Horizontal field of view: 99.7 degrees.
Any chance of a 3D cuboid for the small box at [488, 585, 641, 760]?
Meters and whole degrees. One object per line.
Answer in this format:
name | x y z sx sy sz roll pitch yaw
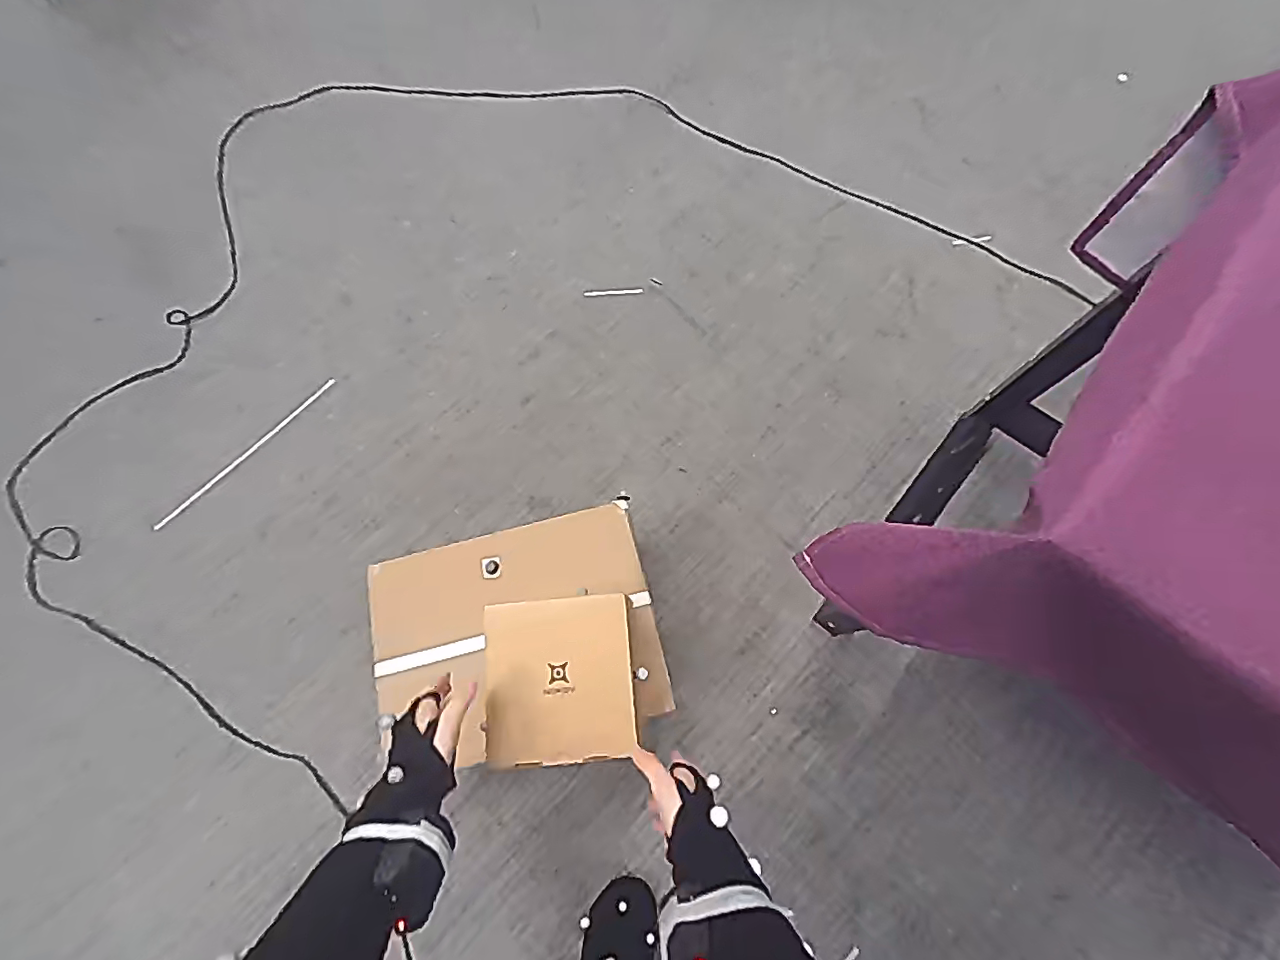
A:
small box | -0.087 0.231 0.680 0.168 0.176 0.179 -5 77 0
